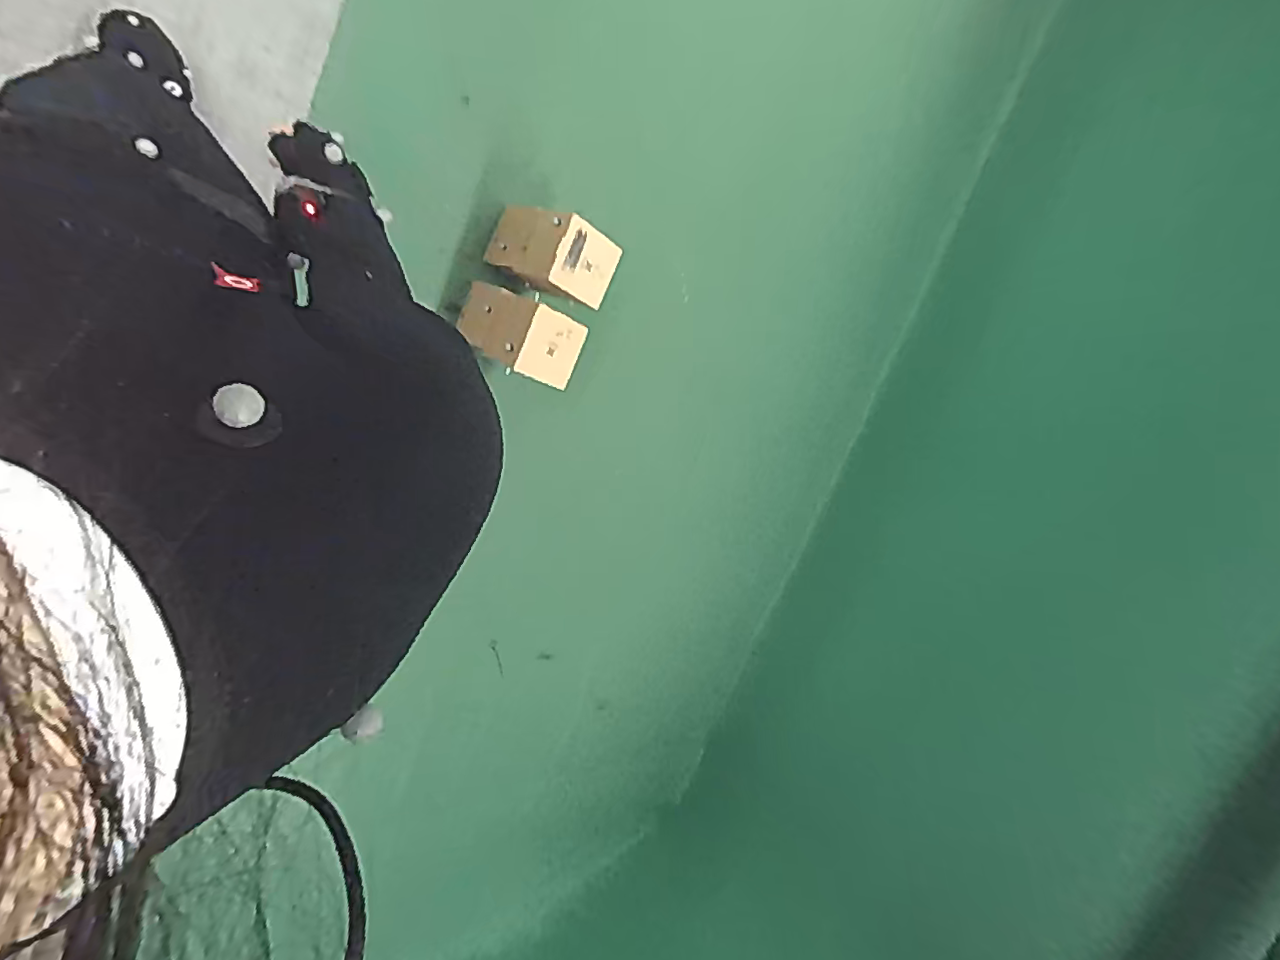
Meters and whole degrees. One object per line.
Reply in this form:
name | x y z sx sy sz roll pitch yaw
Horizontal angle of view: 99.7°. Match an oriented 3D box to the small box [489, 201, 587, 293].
small box | -0.286 -0.641 1.488 0.179 0.176 0.168 21 97 -48
